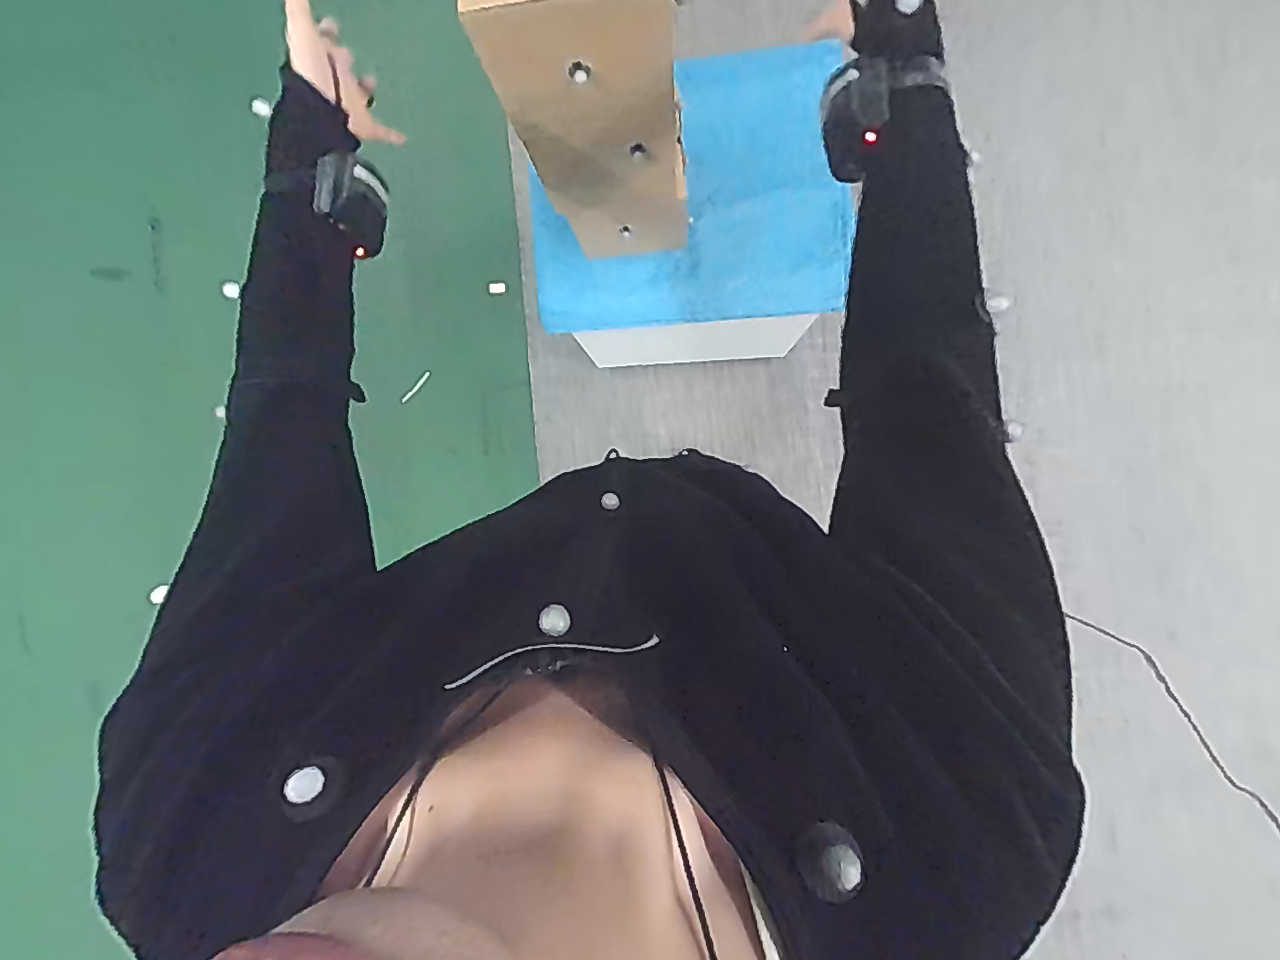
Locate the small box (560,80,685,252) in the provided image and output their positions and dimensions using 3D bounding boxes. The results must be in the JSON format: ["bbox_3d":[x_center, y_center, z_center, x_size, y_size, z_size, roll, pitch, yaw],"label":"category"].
[{"bbox_3d":[-0.025,-0.468,0.827,0.179,0.176,0.168,-4,90,5],"label":"small box"}]

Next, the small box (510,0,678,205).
[{"bbox_3d":[-0.046,-0.465,0.663,0.179,0.176,0.168,-4,89,4],"label":"small box"}]
